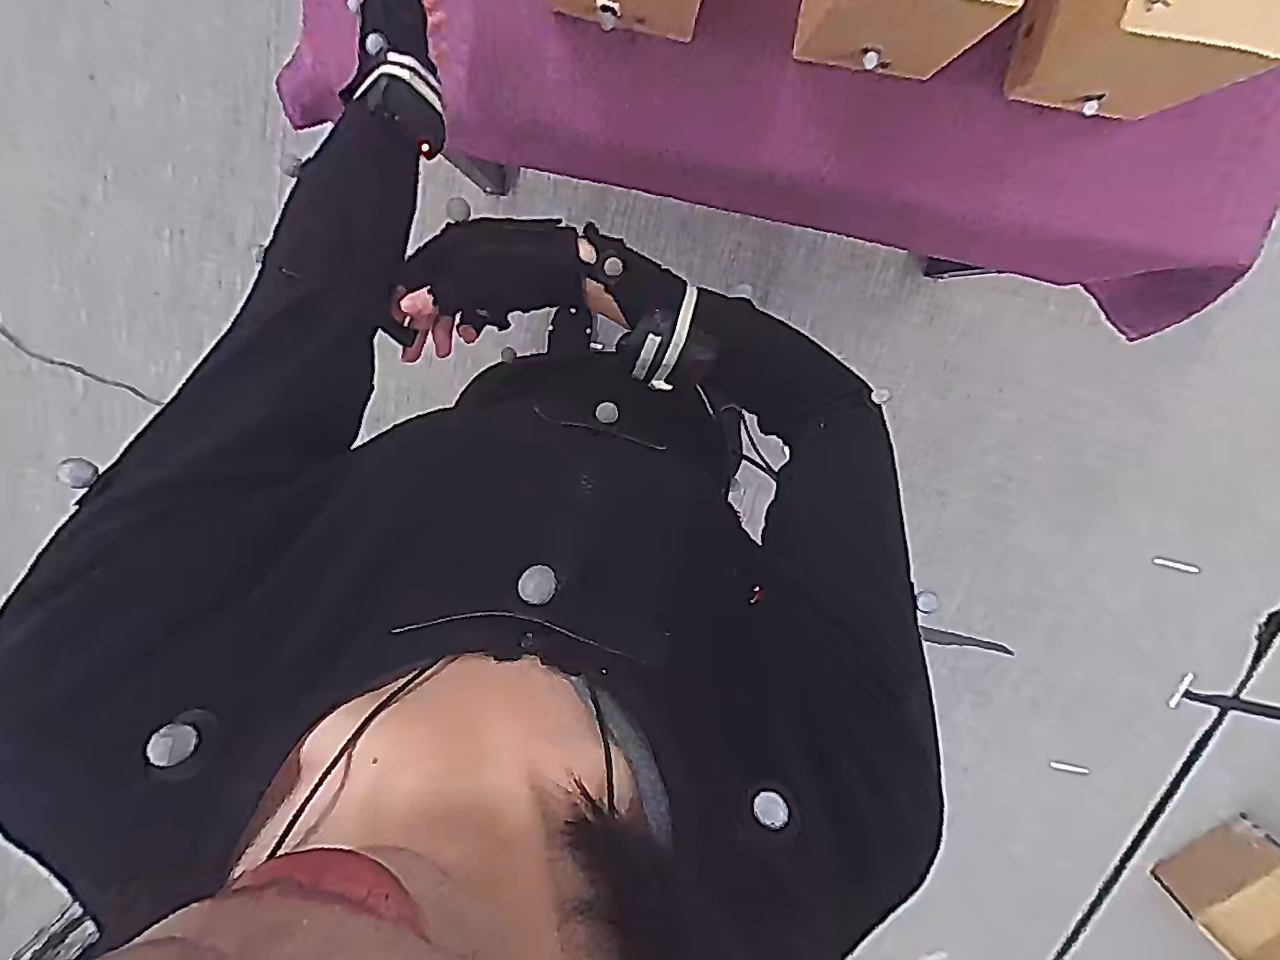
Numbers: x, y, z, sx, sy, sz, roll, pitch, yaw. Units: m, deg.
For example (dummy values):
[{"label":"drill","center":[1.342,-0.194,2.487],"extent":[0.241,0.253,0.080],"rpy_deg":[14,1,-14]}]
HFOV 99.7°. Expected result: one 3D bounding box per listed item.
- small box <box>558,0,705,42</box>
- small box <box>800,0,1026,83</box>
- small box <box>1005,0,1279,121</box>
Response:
[{"label":"small box","center":[-0.001,-0.573,0.516],"extent":[0.168,0.176,0.179],"rpy_deg":[9,107,-4]},{"label":"small box","center":[0.275,-0.539,0.535],"extent":[0.168,0.176,0.179],"rpy_deg":[7,107,-4]},{"label":"small box","center":[0.534,-0.498,0.558],"extent":[0.179,0.176,0.168],"rpy_deg":[7,106,-4]}]
